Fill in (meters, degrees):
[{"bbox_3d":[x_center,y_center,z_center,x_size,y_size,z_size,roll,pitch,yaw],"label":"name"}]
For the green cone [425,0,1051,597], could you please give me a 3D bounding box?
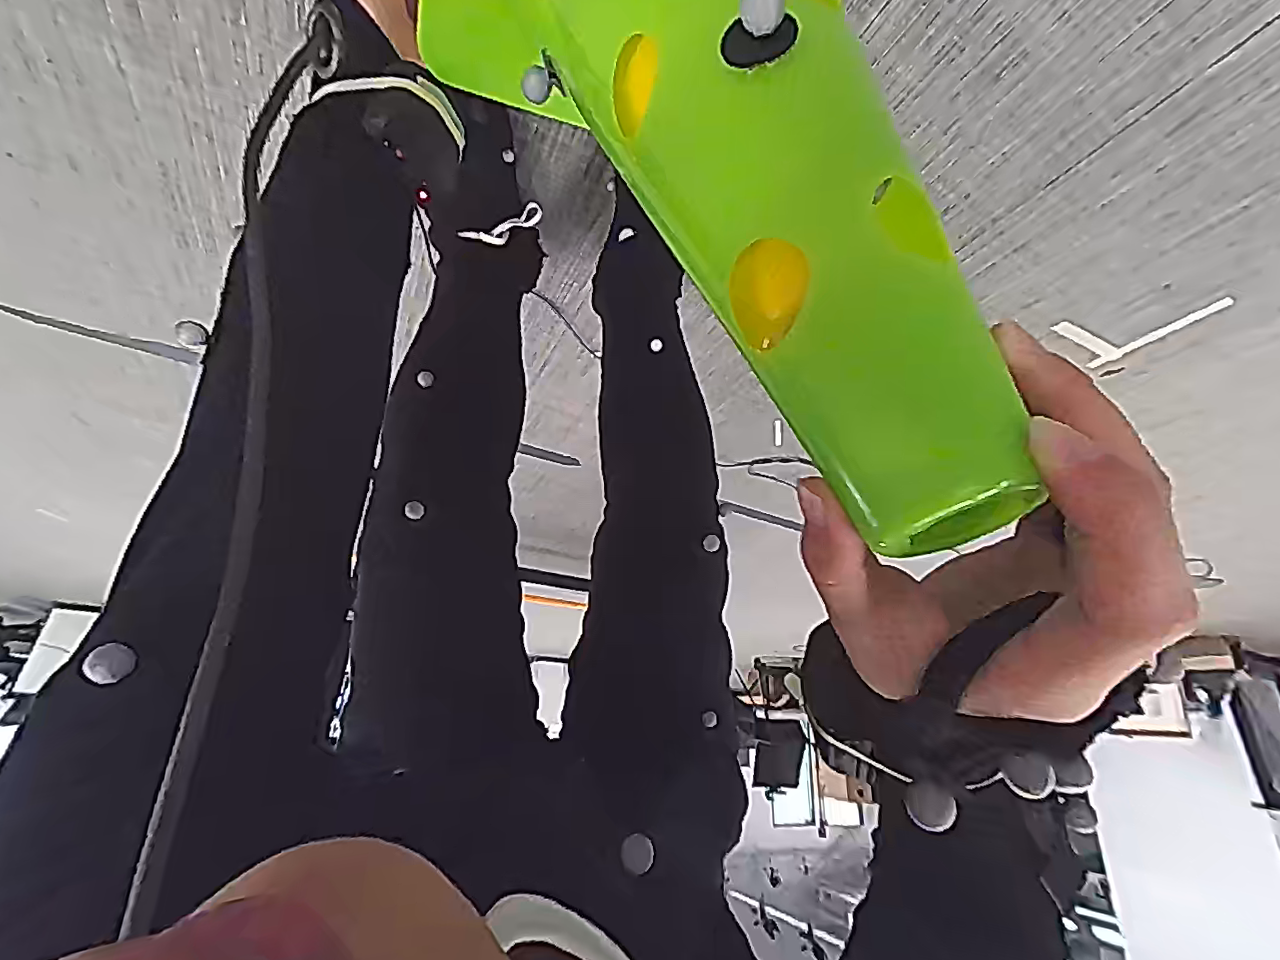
[{"bbox_3d":[0.035,-0.138,0.203,0.200,0.368,0.202,1,149,-25],"label":"green cone"}]
